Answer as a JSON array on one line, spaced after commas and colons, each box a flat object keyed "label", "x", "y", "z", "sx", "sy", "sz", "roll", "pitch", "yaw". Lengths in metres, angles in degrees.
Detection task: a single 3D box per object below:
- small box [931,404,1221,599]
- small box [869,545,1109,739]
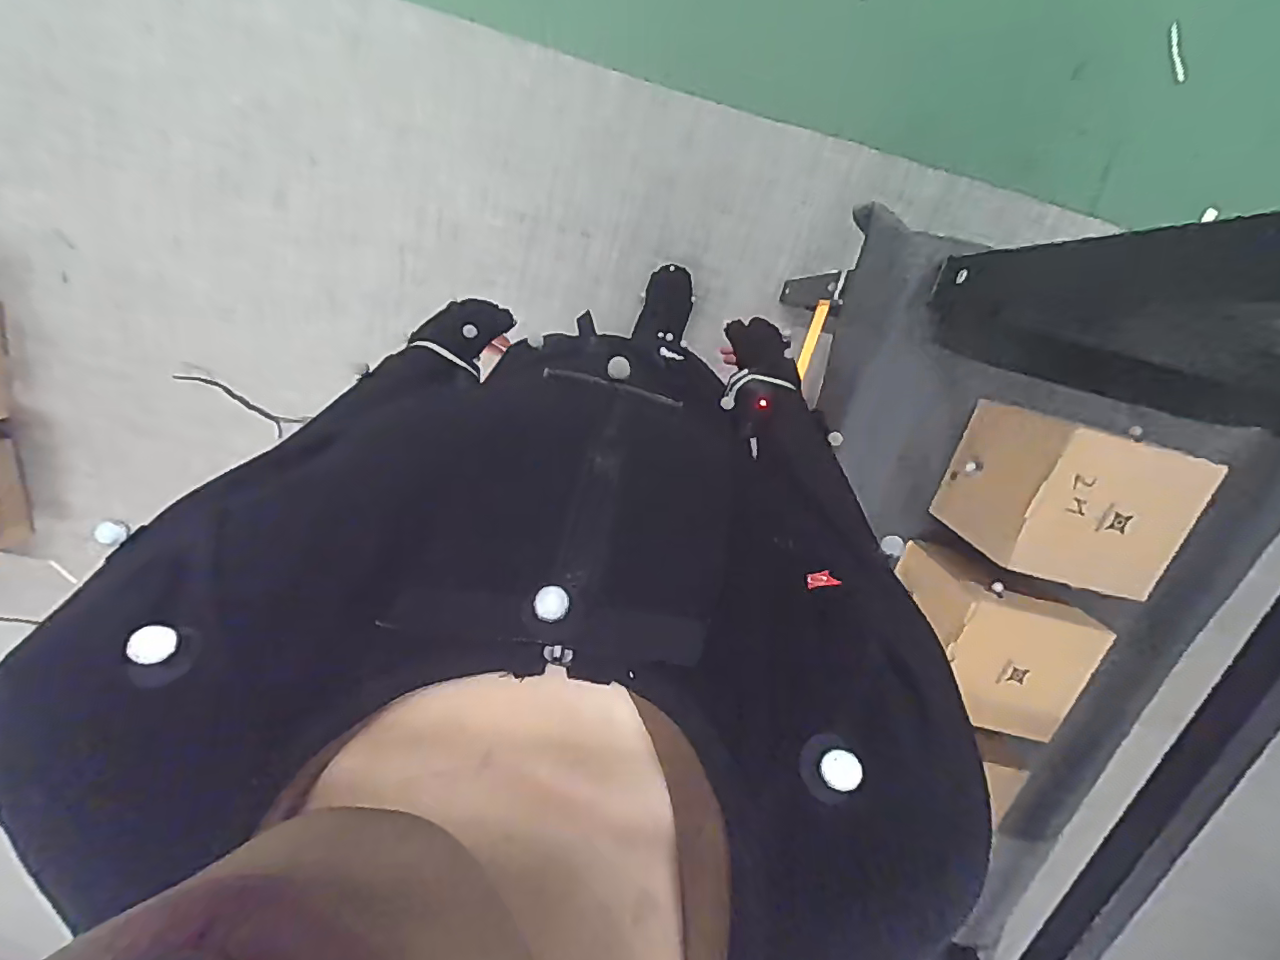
[{"label": "small box", "x": 0.502, "y": 0.015, "z": 0.655, "sx": 0.179, "sy": 0.176, "sz": 0.168, "roll": 14, "pitch": 108, "yaw": -4}, {"label": "small box", "x": 0.443, "y": 0.204, "z": 0.721, "sx": 0.179, "sy": 0.176, "sz": 0.168, "roll": 14, "pitch": 108, "yaw": -4}]
